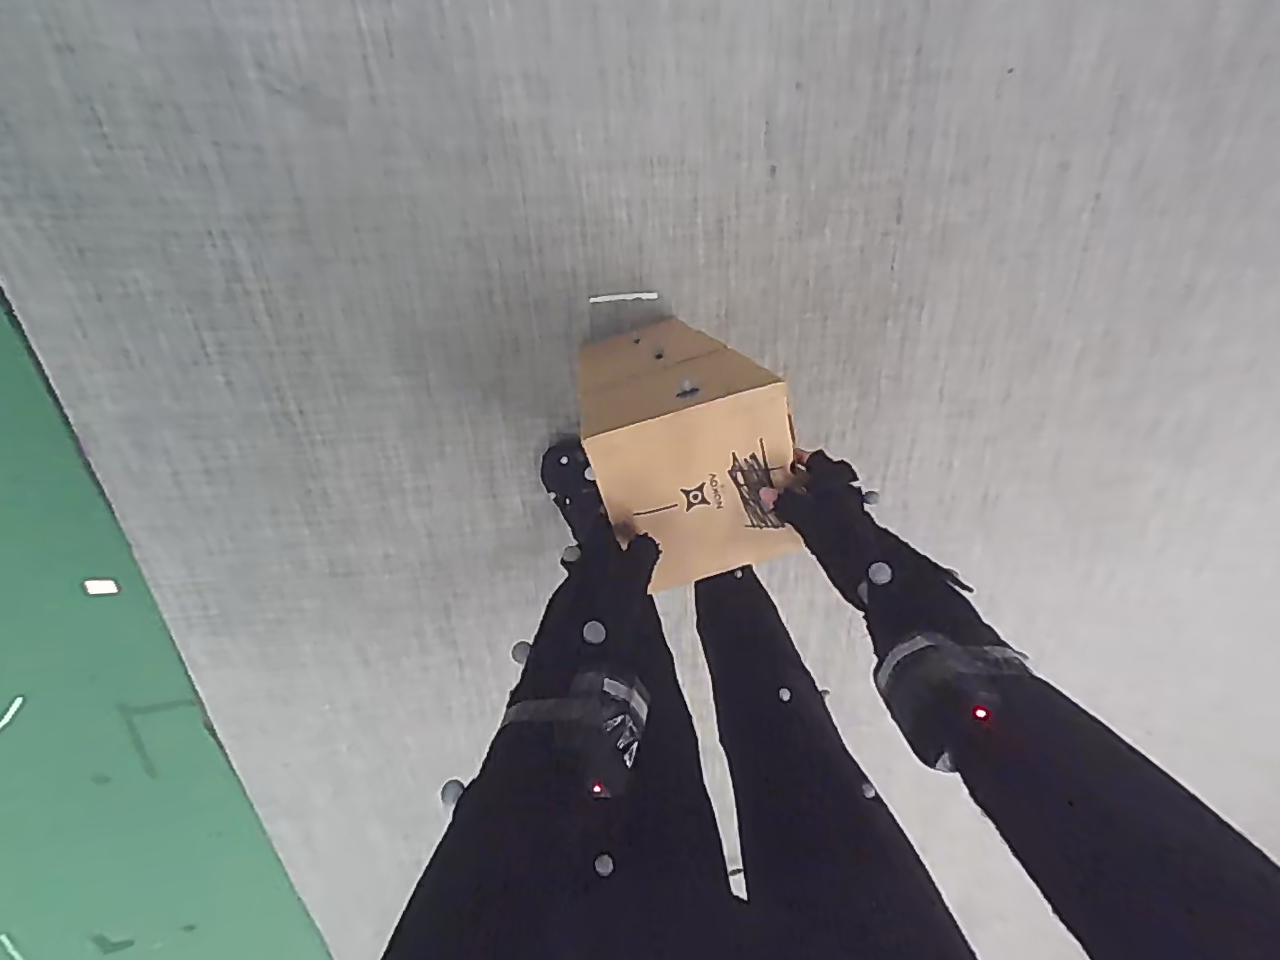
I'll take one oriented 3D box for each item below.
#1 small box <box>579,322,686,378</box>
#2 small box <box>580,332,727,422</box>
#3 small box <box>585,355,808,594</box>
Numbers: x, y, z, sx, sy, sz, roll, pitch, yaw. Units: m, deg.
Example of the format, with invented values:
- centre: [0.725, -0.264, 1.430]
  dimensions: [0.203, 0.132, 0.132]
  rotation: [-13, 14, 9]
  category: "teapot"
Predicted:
- centre: [0.010, -0.141, 0.854]
  dimensions: [0.179, 0.176, 0.168]
  rotation: [-17, 113, 2]
  category: "small box"
- centre: [0.028, -0.080, 0.705]
  dimensions: [0.179, 0.176, 0.168]
  rotation: [-19, 115, 2]
  category: "small box"
- centre: [0.048, -0.018, 0.552]
  dimensions: [0.179, 0.176, 0.168]
  rotation: [-16, 113, 1]
  category: "small box"
